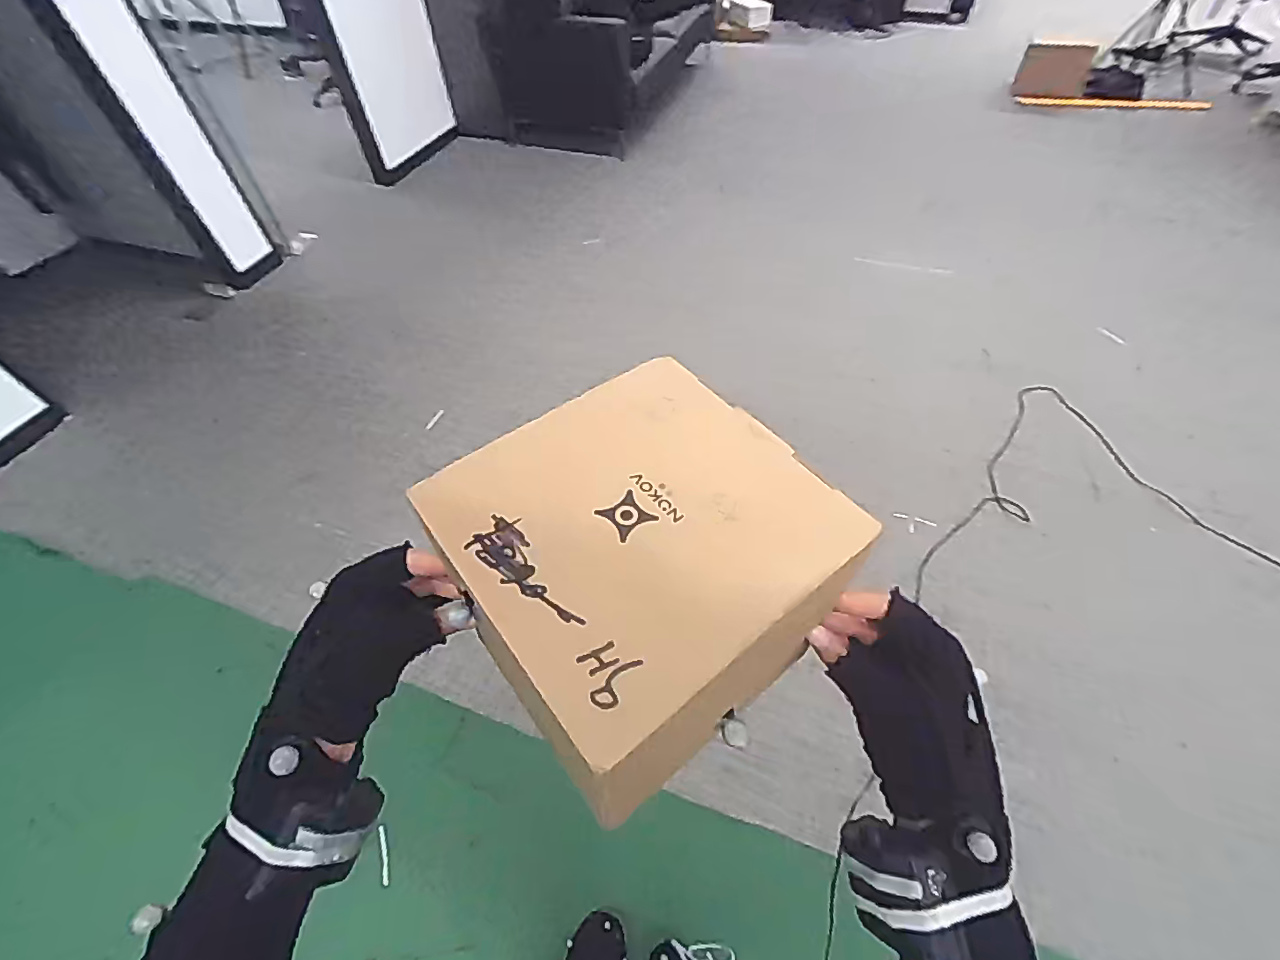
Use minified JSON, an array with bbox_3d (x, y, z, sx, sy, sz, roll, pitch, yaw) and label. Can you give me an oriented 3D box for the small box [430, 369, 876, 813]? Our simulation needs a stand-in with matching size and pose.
[{"bbox_3d":[0.002,0.067,0.339,0.179,0.176,0.168,-31,57,-24],"label":"small box"}]
